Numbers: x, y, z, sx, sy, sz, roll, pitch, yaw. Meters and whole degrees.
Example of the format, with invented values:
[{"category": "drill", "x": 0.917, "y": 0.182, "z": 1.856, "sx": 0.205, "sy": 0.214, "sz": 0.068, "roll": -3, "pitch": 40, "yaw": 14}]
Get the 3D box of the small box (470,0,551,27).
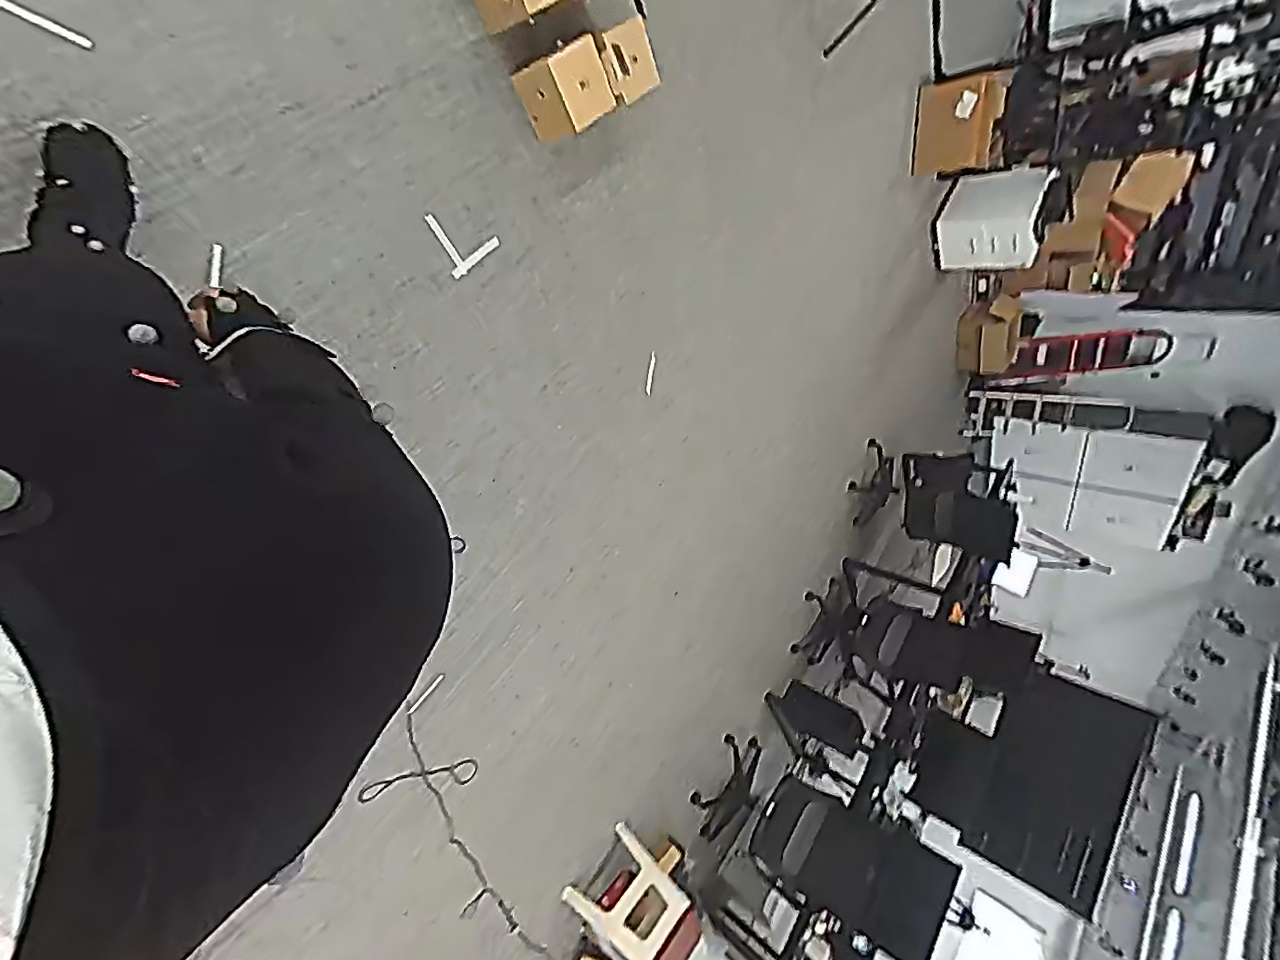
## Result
[{"category": "small box", "x": -0.310, "y": -1.203, "z": 1.266, "sx": 0.168, "sy": 0.176, "sz": 0.179, "roll": -50, "pitch": 134, "yaw": -25}]
